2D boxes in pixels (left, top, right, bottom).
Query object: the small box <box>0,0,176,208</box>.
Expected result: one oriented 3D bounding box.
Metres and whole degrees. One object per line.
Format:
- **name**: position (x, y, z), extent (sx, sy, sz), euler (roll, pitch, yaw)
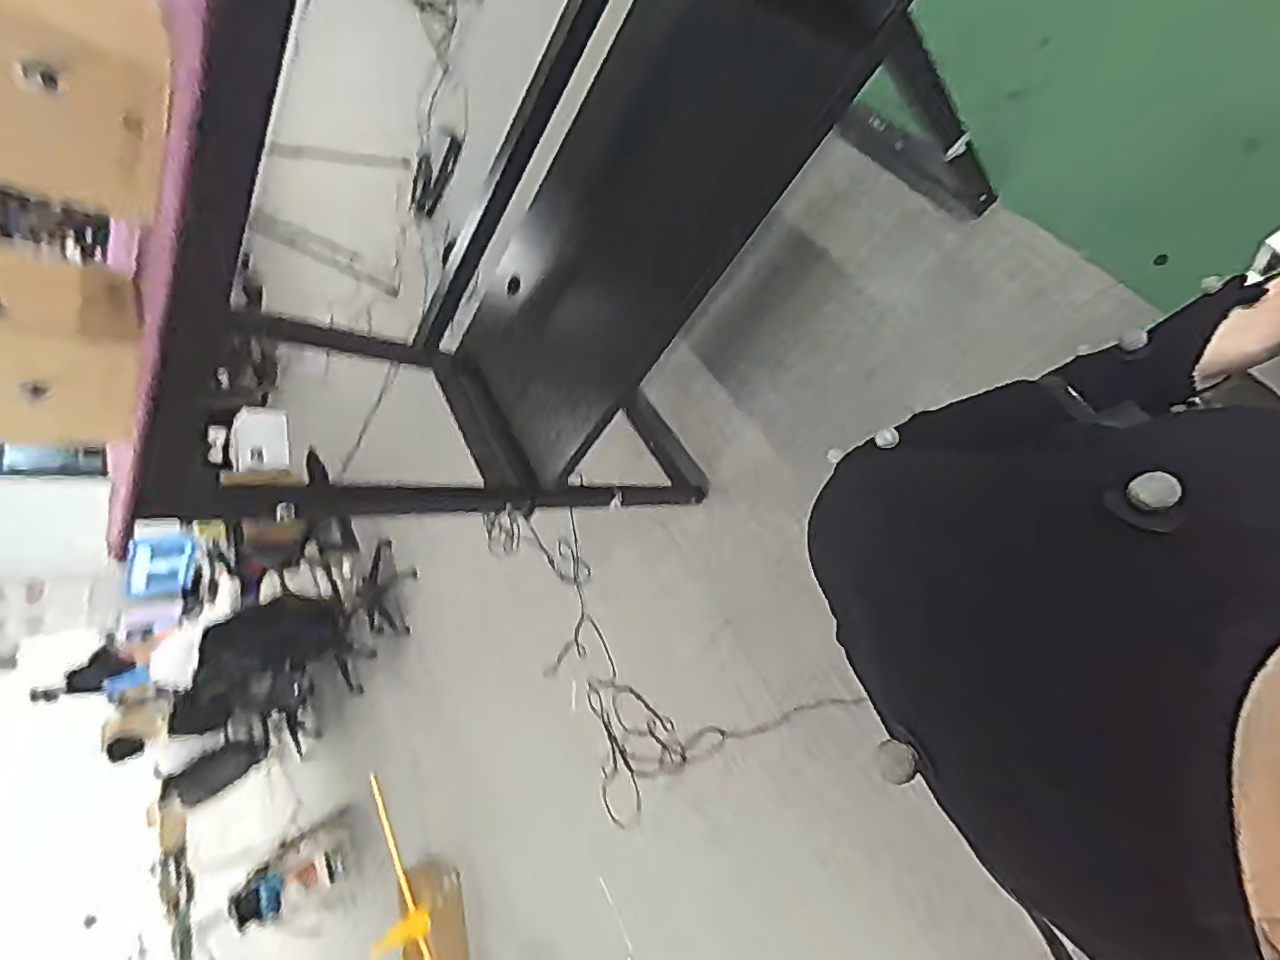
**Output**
- **small box**: position (-0.580, -0.402, 0.532), extent (0.168, 0.176, 0.179), euler (-46, 60, 31)
